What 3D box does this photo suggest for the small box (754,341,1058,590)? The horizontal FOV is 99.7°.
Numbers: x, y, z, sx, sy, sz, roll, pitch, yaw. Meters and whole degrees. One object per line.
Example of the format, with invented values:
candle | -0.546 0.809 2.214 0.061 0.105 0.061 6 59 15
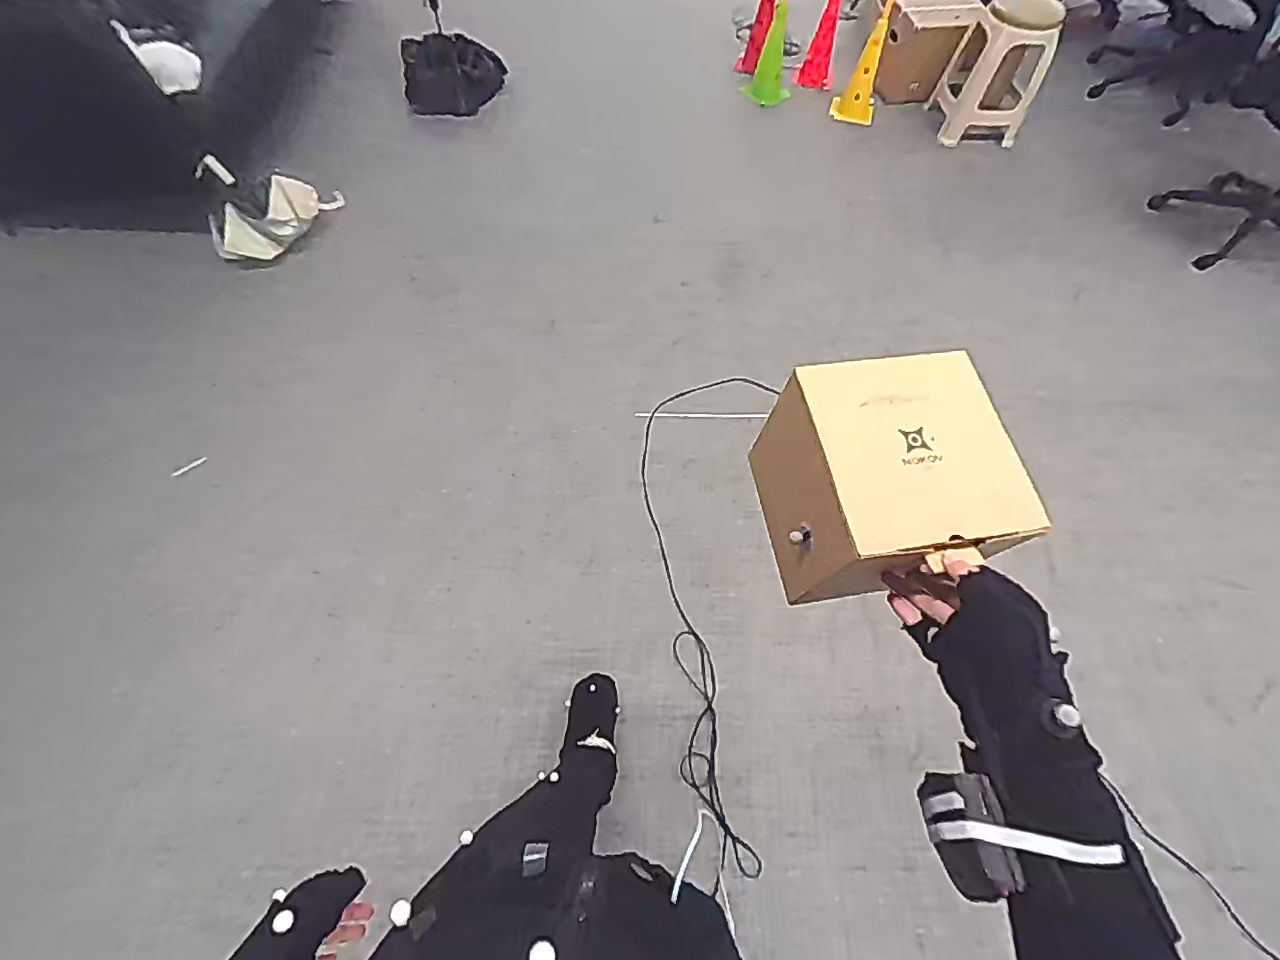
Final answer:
small box | 0.221 -0.002 0.507 0.168 0.176 0.179 -7 65 -7
